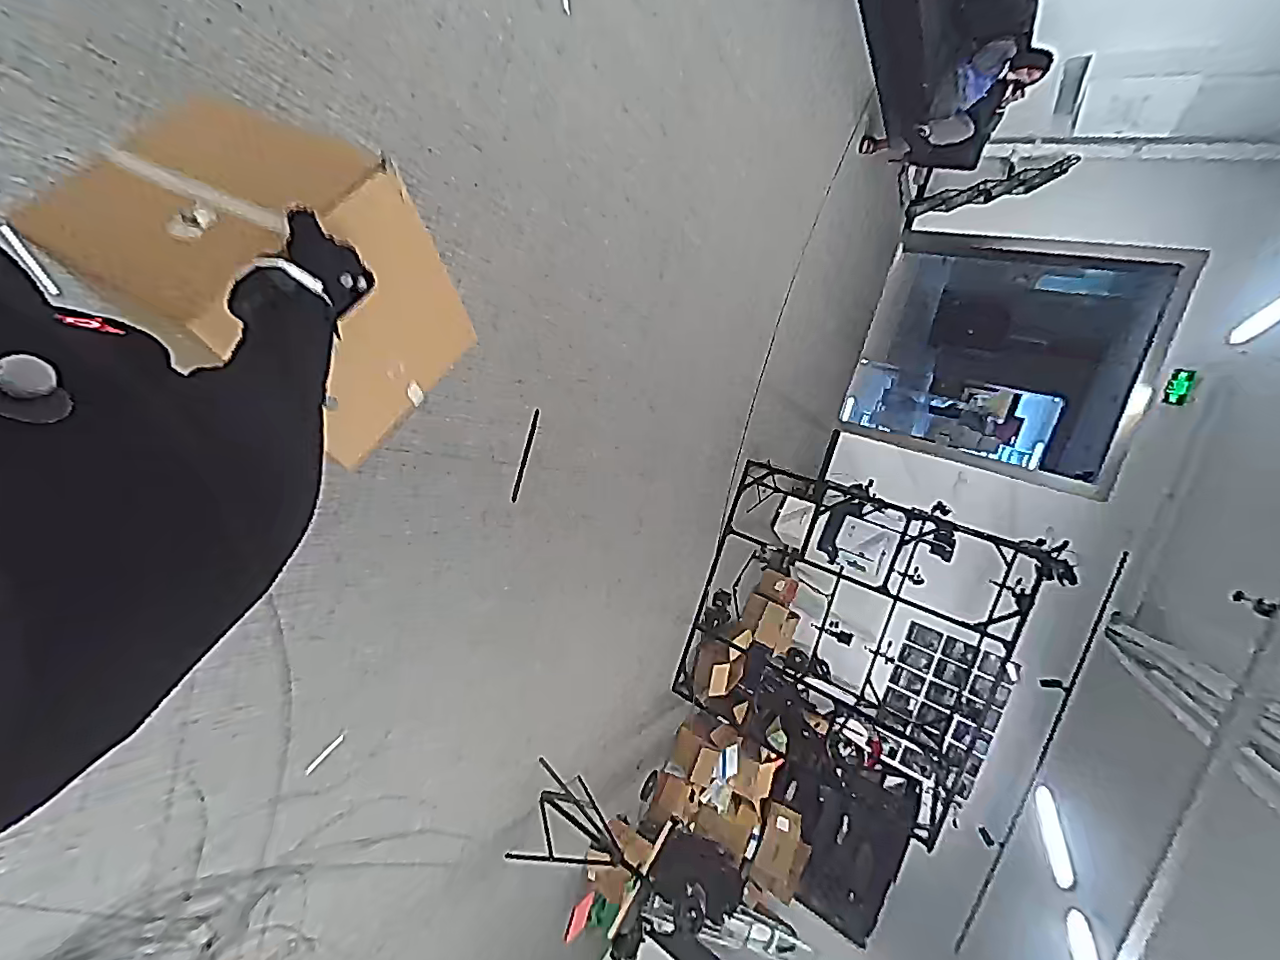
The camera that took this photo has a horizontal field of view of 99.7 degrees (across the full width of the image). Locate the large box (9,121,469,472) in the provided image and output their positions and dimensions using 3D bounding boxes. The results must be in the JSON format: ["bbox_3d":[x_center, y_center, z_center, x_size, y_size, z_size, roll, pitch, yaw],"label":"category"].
[{"bbox_3d":[-0.551,-0.272,0.819,0.320,0.408,0.320,-58,161,-22],"label":"large box"}]
